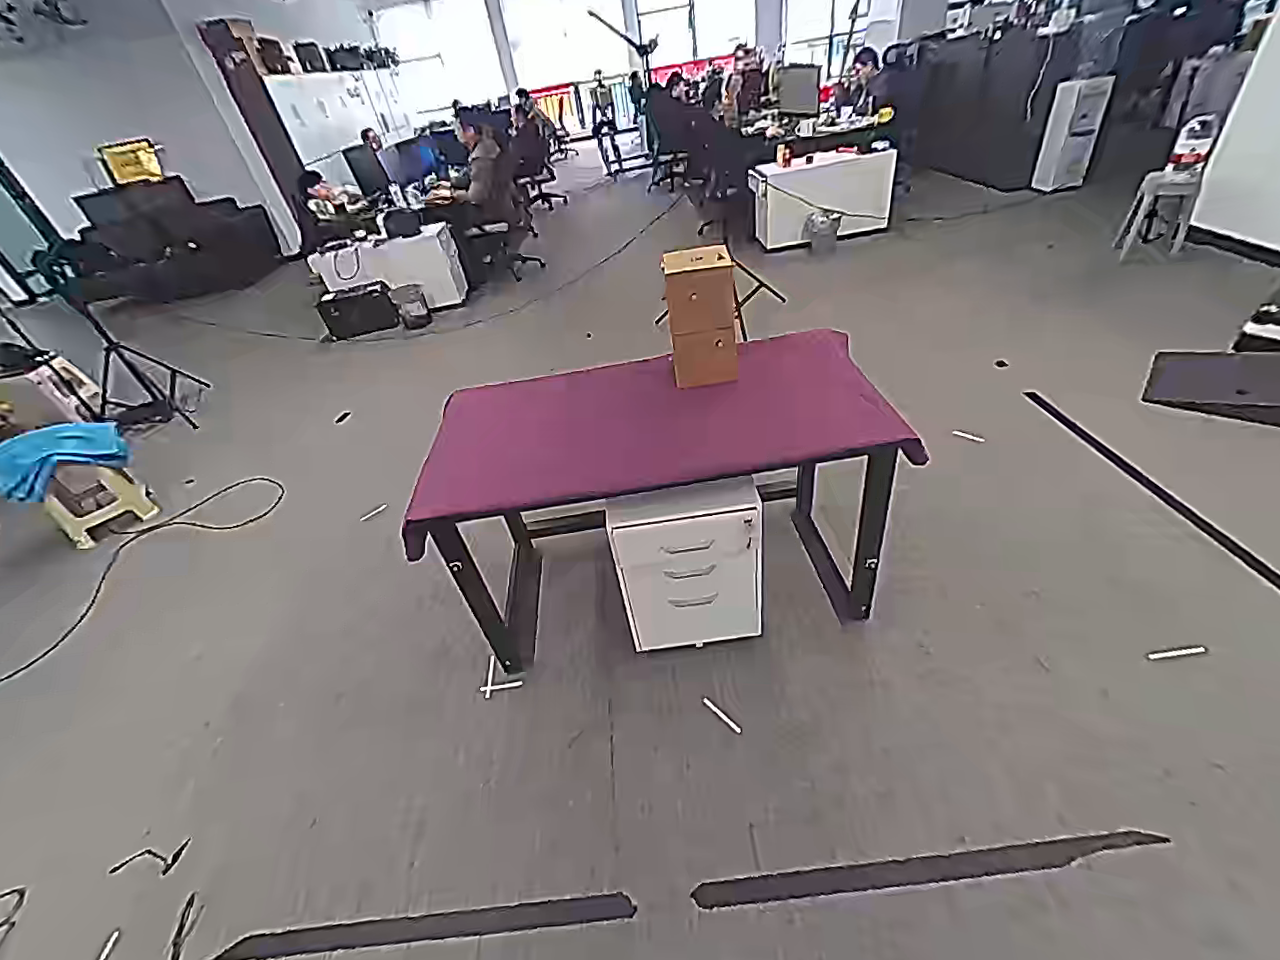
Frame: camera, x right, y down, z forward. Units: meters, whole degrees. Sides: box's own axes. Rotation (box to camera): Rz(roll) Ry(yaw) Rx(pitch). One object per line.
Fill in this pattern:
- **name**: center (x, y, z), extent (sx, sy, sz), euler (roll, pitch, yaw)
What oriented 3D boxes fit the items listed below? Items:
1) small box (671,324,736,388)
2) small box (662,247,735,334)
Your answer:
- **small box**: center (0.184, -0.385, 1.572), extent (0.179, 0.176, 0.168), euler (-7, 39, 5)
- **small box**: center (0.158, -0.512, 1.471), extent (0.179, 0.176, 0.168), euler (-7, 40, 6)
